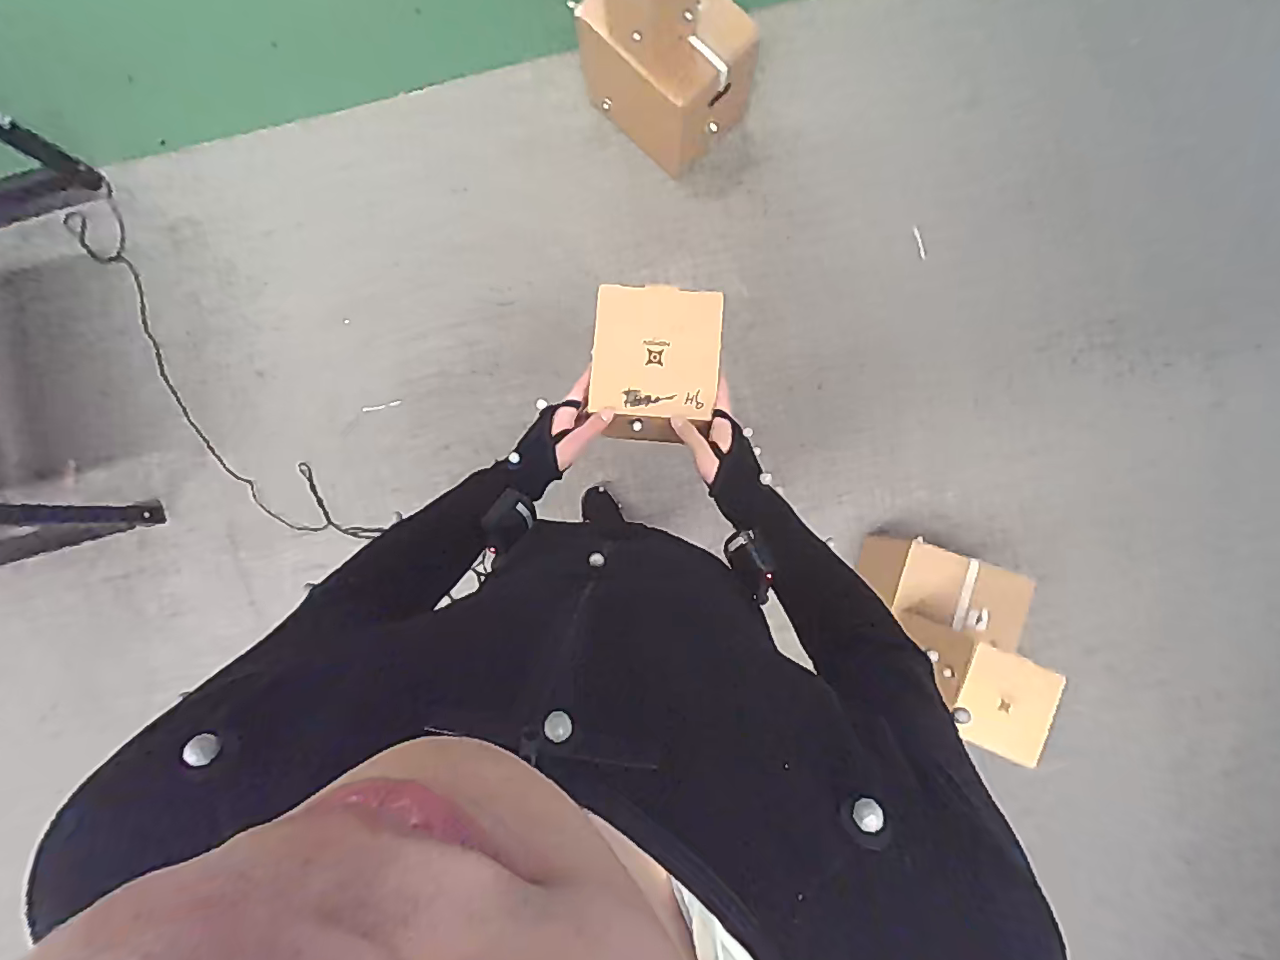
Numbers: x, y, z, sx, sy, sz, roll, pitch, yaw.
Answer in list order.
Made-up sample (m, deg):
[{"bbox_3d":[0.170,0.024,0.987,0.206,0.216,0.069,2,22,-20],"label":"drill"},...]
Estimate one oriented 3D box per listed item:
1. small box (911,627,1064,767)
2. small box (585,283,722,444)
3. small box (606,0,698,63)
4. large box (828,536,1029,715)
[{"bbox_3d":[0.658,0.408,1.049,0.168,0.176,0.179,22,86,4],"label":"small box"},{"bbox_3d":[0.020,-0.156,0.772,0.168,0.176,0.179,4,84,2],"label":"small box"},{"bbox_3d":[0.030,-1.180,1.323,0.168,0.176,0.179,-45,86,-1],"label":"small box"},{"bbox_3d":[0.749,0.389,1.457,0.320,0.320,0.408,19,86,2],"label":"large box"}]
